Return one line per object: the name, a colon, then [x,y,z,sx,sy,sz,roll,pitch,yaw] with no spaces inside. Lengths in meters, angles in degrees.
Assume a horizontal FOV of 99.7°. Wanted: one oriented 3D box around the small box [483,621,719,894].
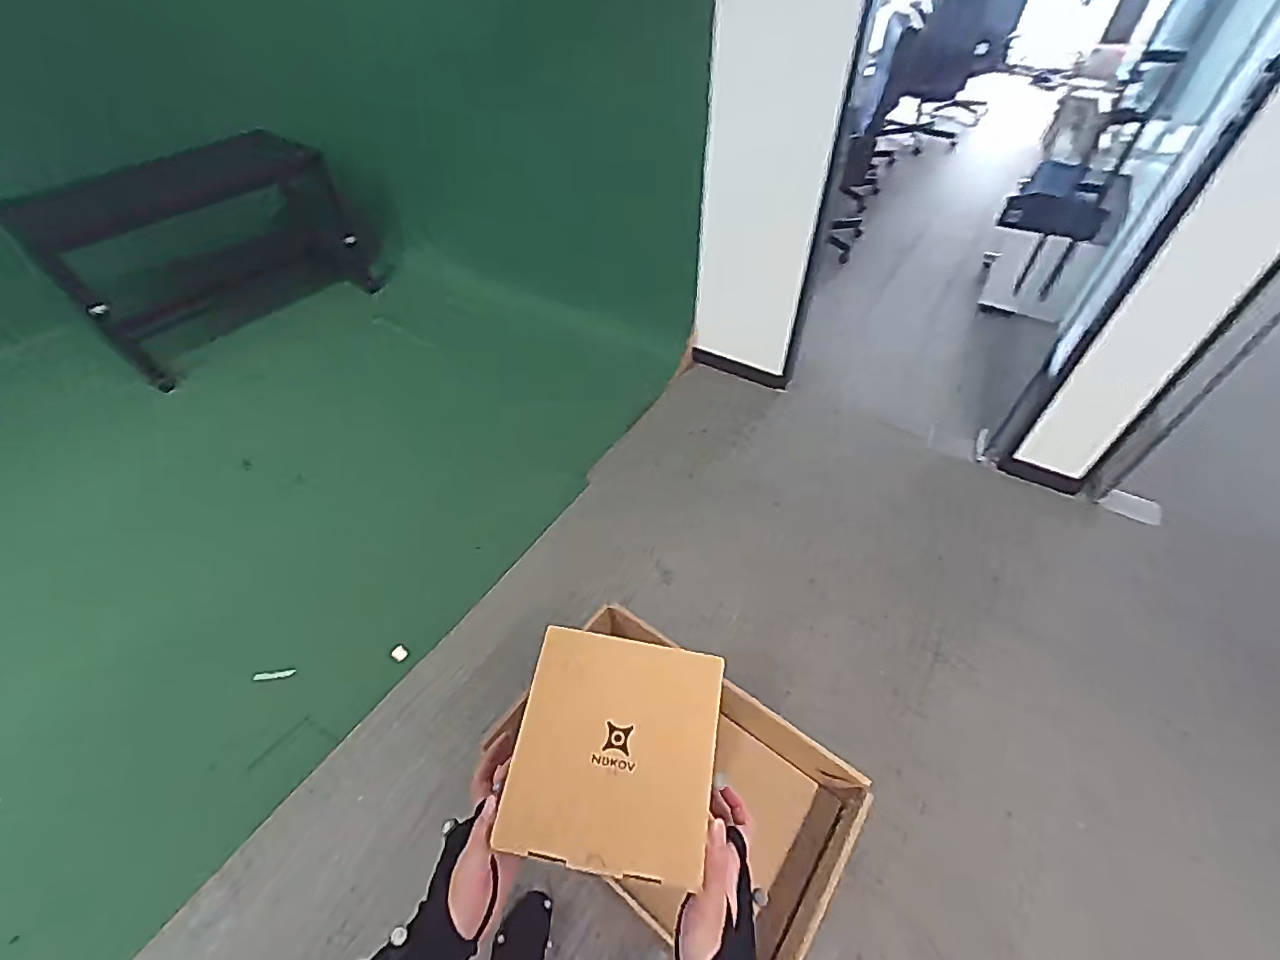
small box: [-0.028,0.254,0.509,0.168,0.176,0.179,10,60,3]
